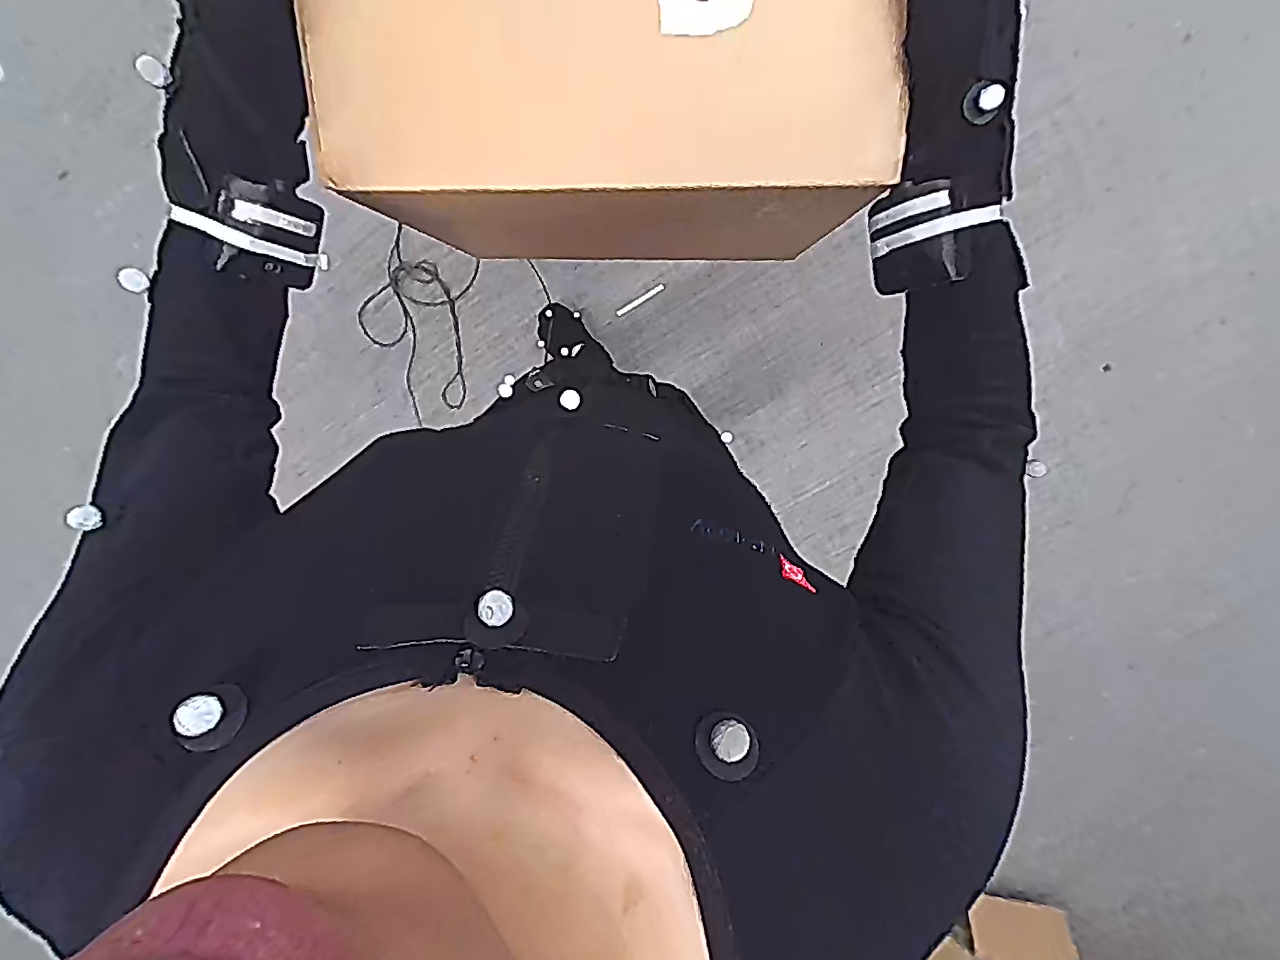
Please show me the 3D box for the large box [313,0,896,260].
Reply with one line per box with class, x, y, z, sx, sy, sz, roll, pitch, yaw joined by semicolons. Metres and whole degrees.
large box;-0.023;-0.399;0.501;0.408;0.320;0.320;0;104;2
